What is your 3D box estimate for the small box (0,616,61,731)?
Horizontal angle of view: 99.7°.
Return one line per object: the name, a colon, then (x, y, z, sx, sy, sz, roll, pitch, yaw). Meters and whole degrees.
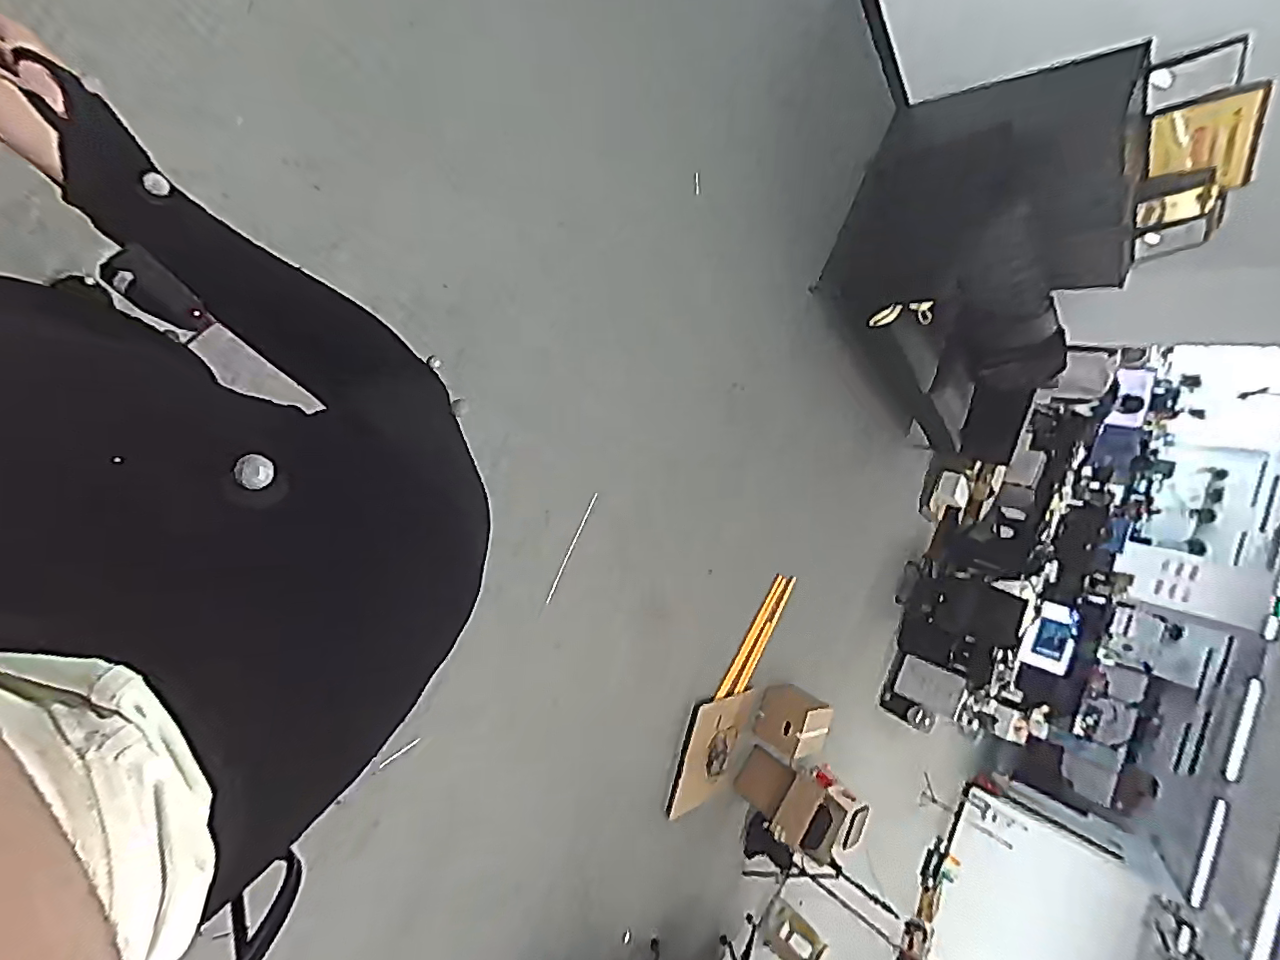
small box: (-1.292, 0.377, 1.072, 0.168, 0.176, 0.179, 19, 89, -46)
